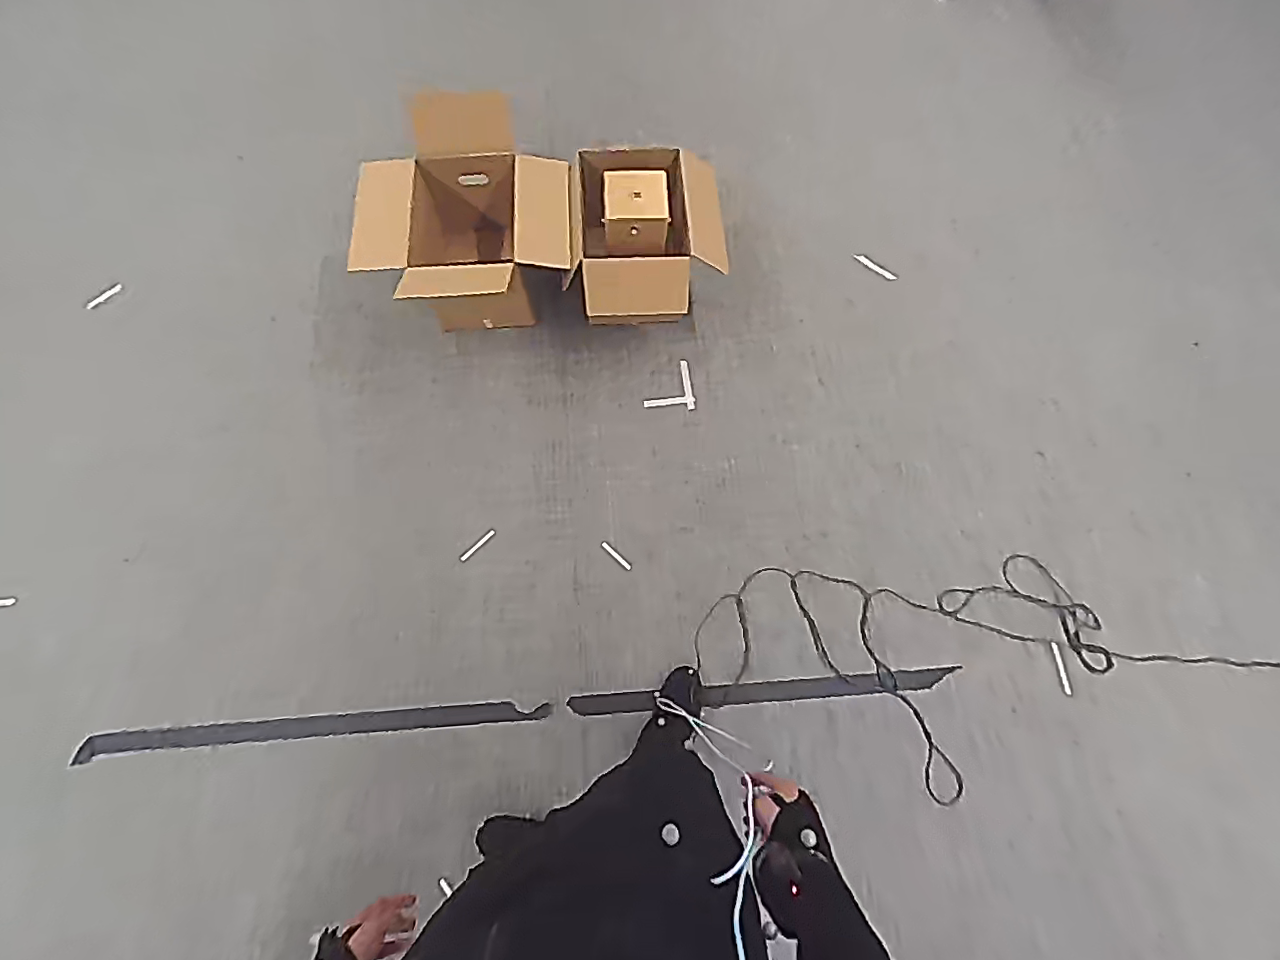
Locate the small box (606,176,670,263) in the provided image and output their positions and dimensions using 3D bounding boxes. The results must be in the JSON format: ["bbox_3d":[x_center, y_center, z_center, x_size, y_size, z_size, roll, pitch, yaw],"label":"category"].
[{"bbox_3d":[-0.007,-0.757,1.584,0.179,0.176,0.168,-2,74,-1],"label":"small box"}]
